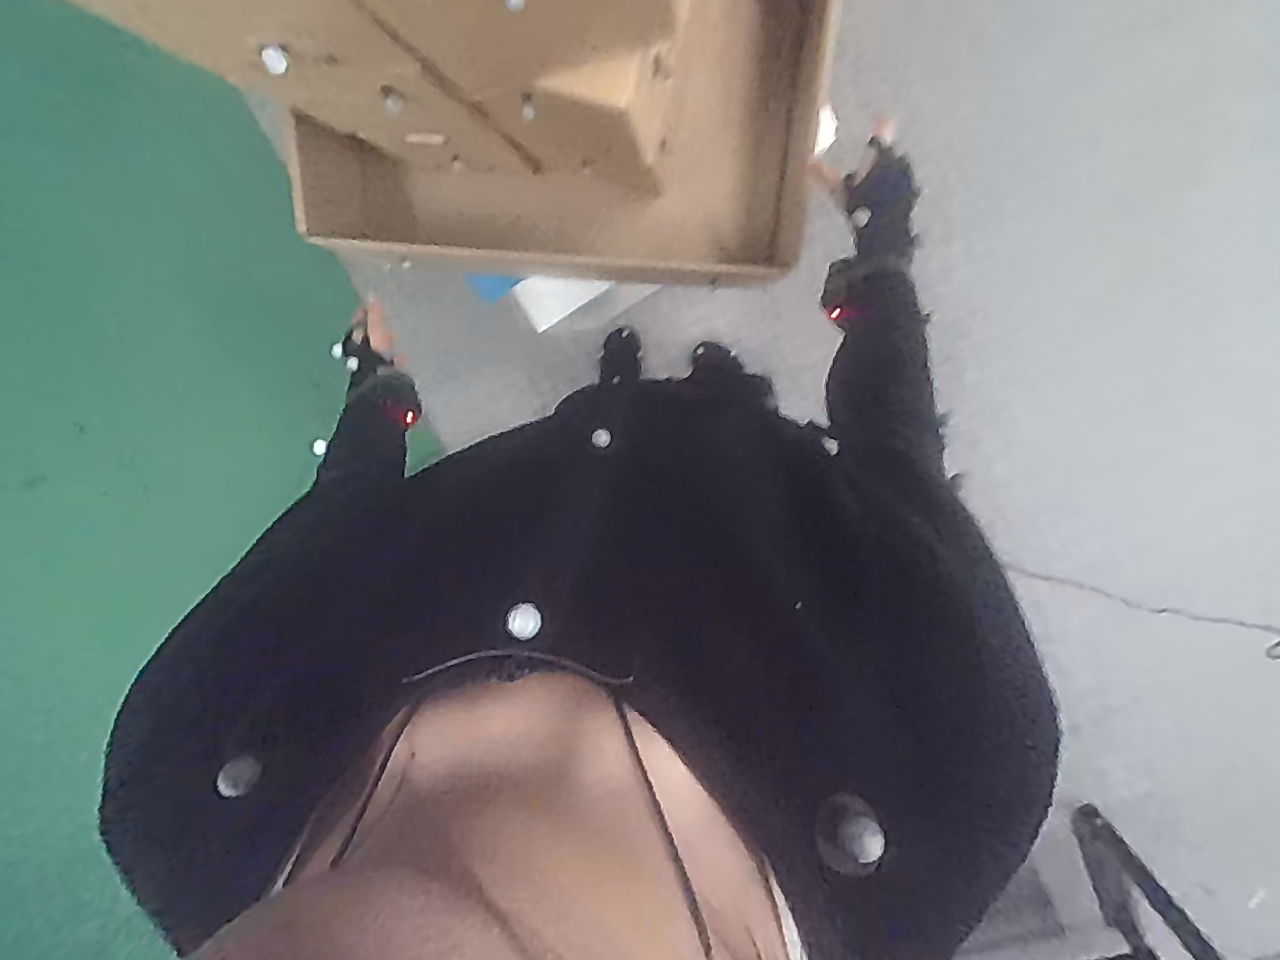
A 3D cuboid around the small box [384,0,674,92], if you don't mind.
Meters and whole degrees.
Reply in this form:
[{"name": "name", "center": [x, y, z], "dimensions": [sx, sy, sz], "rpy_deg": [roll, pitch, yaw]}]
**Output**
[{"name": "small box", "center": [-0.082, -0.377, 0.331], "dimensions": [0.179, 0.176, 0.168], "rpy_deg": [-8, 104, 10]}]
